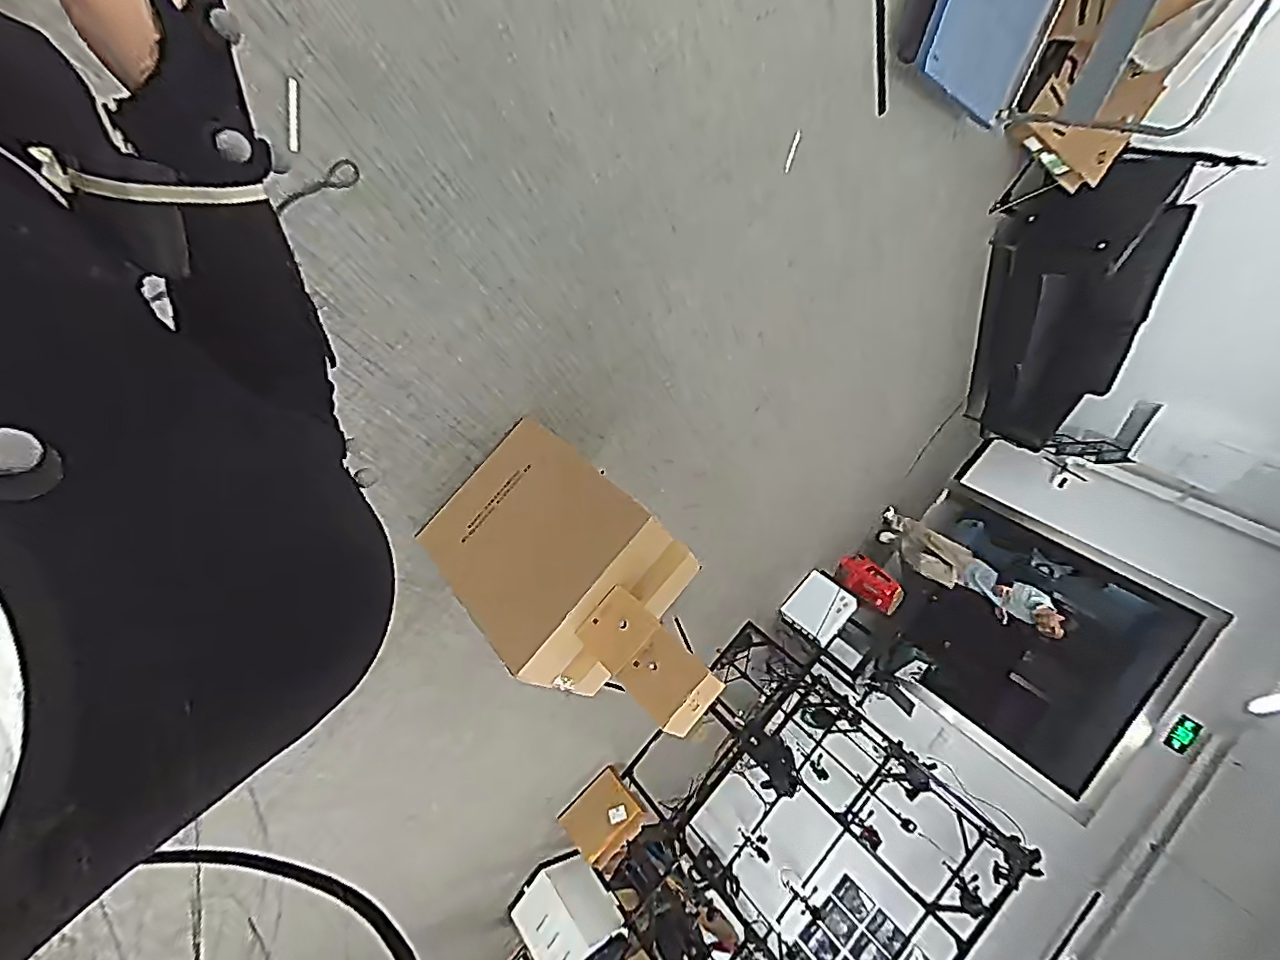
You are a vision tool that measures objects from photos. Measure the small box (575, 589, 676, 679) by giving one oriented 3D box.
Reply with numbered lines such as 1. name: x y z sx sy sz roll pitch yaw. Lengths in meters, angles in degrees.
1. small box: -0.039 0.410 1.409 0.168 0.176 0.179 -49 145 -8

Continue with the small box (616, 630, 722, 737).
1. small box: 0.071 0.494 1.319 0.168 0.176 0.179 -48 144 -10
